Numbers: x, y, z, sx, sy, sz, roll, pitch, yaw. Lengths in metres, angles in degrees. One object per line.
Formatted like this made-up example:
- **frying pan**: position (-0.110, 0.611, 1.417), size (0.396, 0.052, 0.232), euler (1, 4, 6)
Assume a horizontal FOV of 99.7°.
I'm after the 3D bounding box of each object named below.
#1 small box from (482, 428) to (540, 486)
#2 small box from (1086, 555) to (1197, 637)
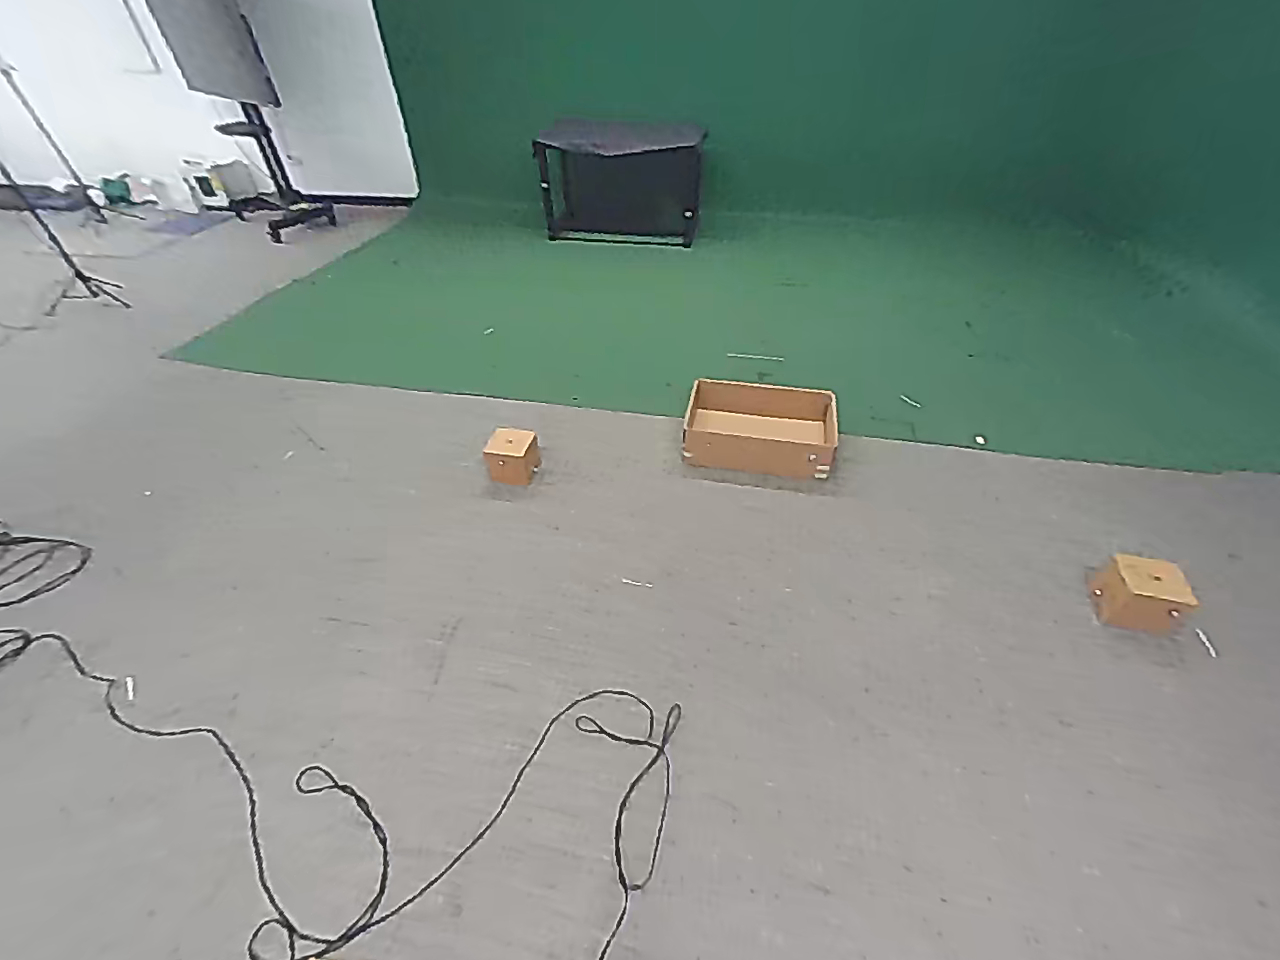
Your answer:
- **small box**: position (-0.532, -0.094, 2.253), size (0.179, 0.176, 0.168), euler (7, 44, 8)
- **small box**: position (1.554, 0.365, 1.689), size (0.179, 0.176, 0.168), euler (11, 43, 14)
